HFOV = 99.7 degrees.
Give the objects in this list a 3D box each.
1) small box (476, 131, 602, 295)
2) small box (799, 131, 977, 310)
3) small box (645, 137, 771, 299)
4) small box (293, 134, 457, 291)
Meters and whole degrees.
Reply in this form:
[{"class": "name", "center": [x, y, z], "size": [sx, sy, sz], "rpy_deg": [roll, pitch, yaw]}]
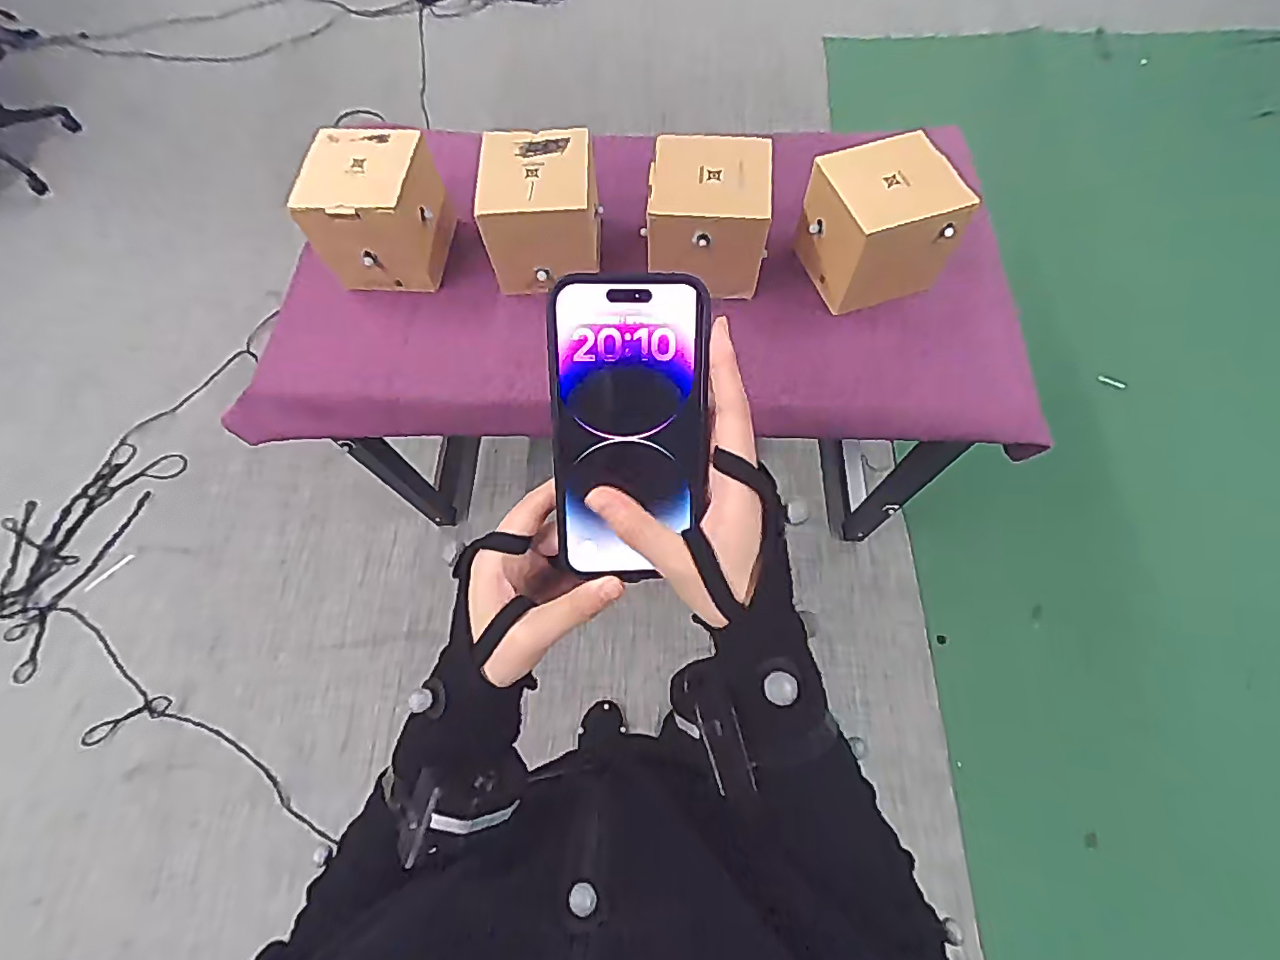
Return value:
[{"class": "small box", "center": [-0.153, -0.426, 0.877], "size": [0.168, 0.176, 0.179], "rpy_deg": [-2, 67, 2]}, {"class": "small box", "center": [0.363, -0.394, 0.840], "size": [0.179, 0.176, 0.168], "rpy_deg": [-18, 66, -5]}, {"class": "small box", "center": [0.106, -0.409, 0.860], "size": [0.179, 0.176, 0.168], "rpy_deg": [5, 68, 4]}, {"class": "small box", "center": [-0.421, -0.434, 0.893], "size": [0.168, 0.176, 0.179], "rpy_deg": [3, 68, 3]}]
